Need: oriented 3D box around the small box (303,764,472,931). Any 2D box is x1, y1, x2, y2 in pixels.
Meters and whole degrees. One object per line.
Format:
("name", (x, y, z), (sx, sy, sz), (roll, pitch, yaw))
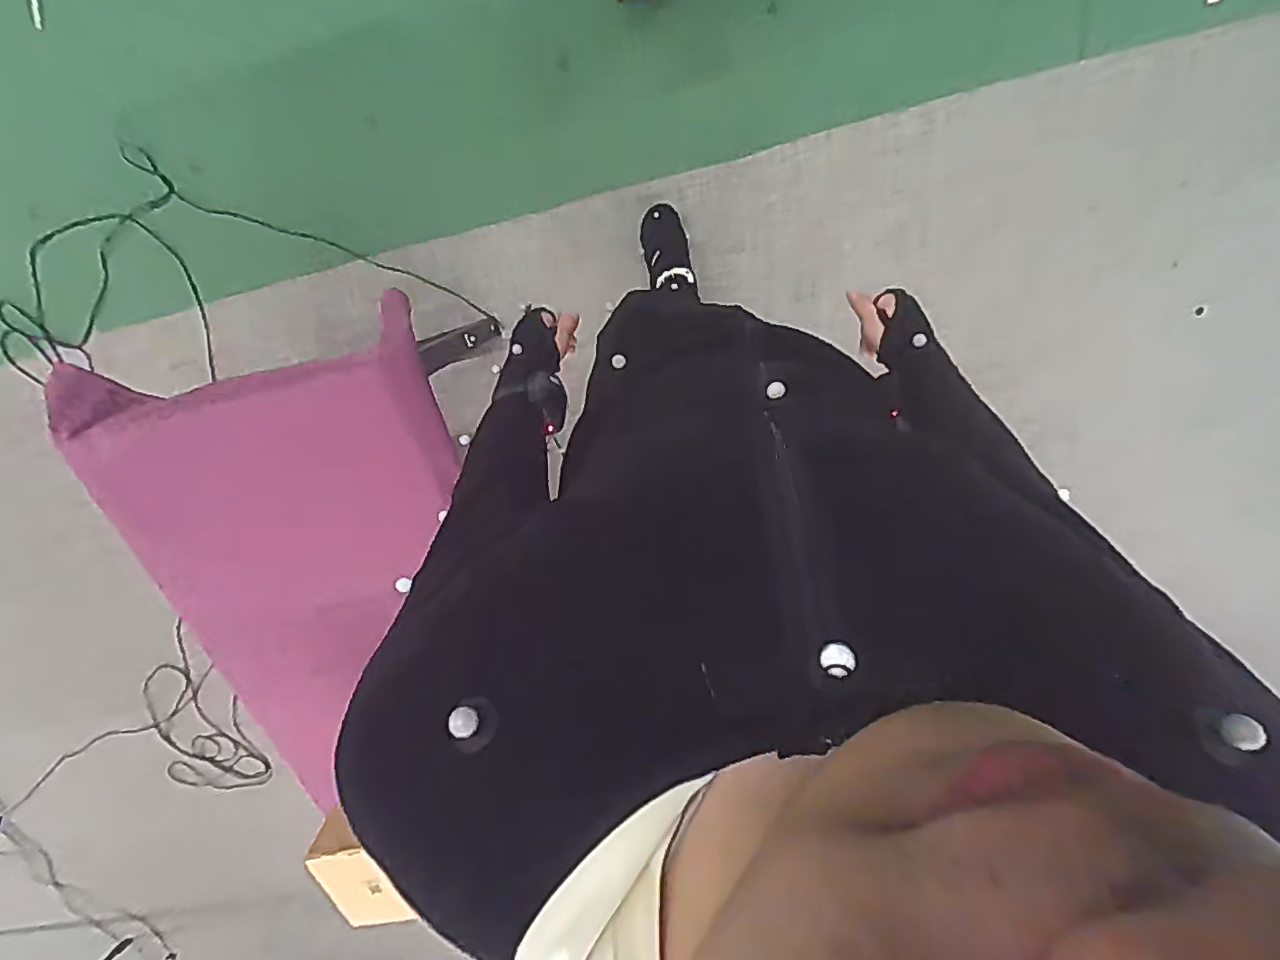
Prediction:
("small box", (-0.410, 0.606, 0.911), (0.168, 0.176, 0.179), (-12, 111, 8))
